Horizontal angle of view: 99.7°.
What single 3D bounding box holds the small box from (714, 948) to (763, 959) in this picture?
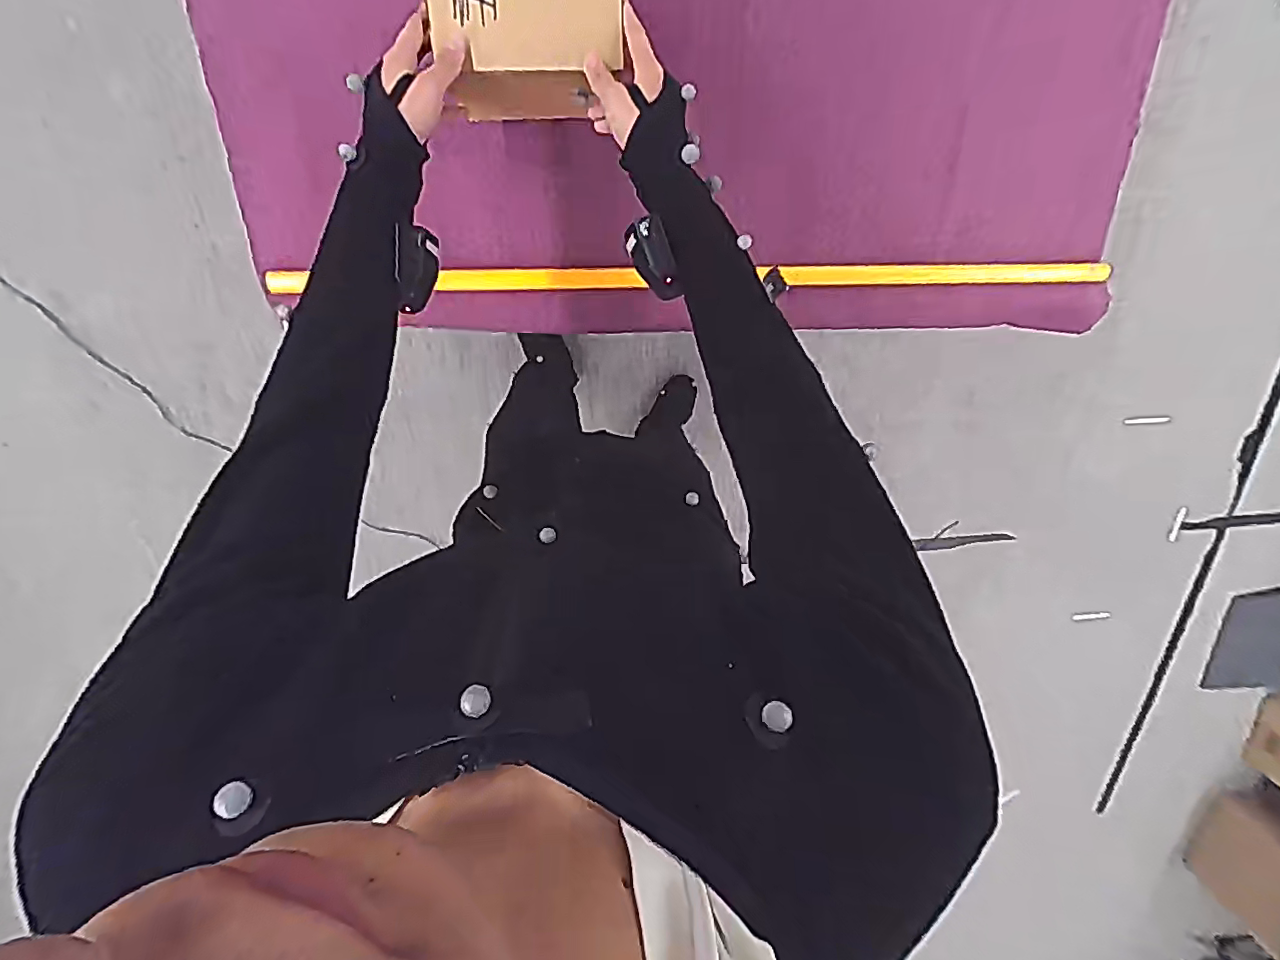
[{"bbox_3d":[0.359,1.842,1.963,0.179,0.176,0.168,6,113,-6],"label":"small box"}]
